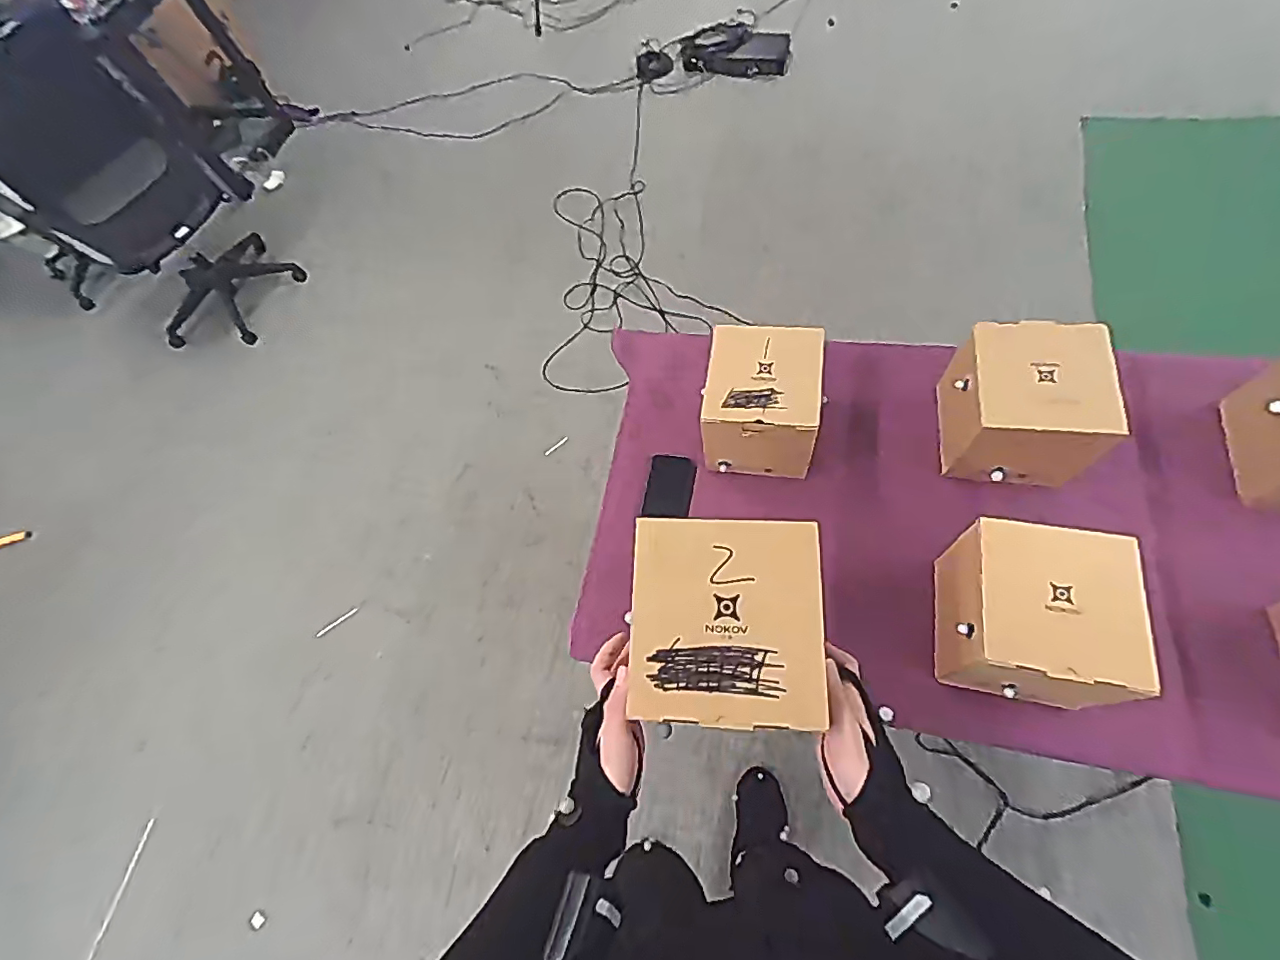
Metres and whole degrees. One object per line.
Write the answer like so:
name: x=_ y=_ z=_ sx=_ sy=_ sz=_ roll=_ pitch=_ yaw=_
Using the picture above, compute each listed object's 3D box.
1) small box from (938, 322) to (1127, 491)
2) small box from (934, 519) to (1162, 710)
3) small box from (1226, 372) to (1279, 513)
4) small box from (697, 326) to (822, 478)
small box: x=0.547 y=-0.103 z=0.785 sx=0.168 sy=0.176 sz=0.179 roll=6 pitch=66 yaw=14
small box: x=0.476 y=0.170 z=0.665 sx=0.168 sy=0.176 sz=0.179 roll=8 pitch=66 yaw=14
small box: x=0.923 y=-0.060 z=0.694 sx=0.168 sy=0.176 sz=0.179 roll=7 pitch=66 yaw=15
small box: x=0.189 y=-0.118 z=0.855 sx=0.168 sy=0.176 sz=0.179 roll=6 pitch=66 yaw=13
